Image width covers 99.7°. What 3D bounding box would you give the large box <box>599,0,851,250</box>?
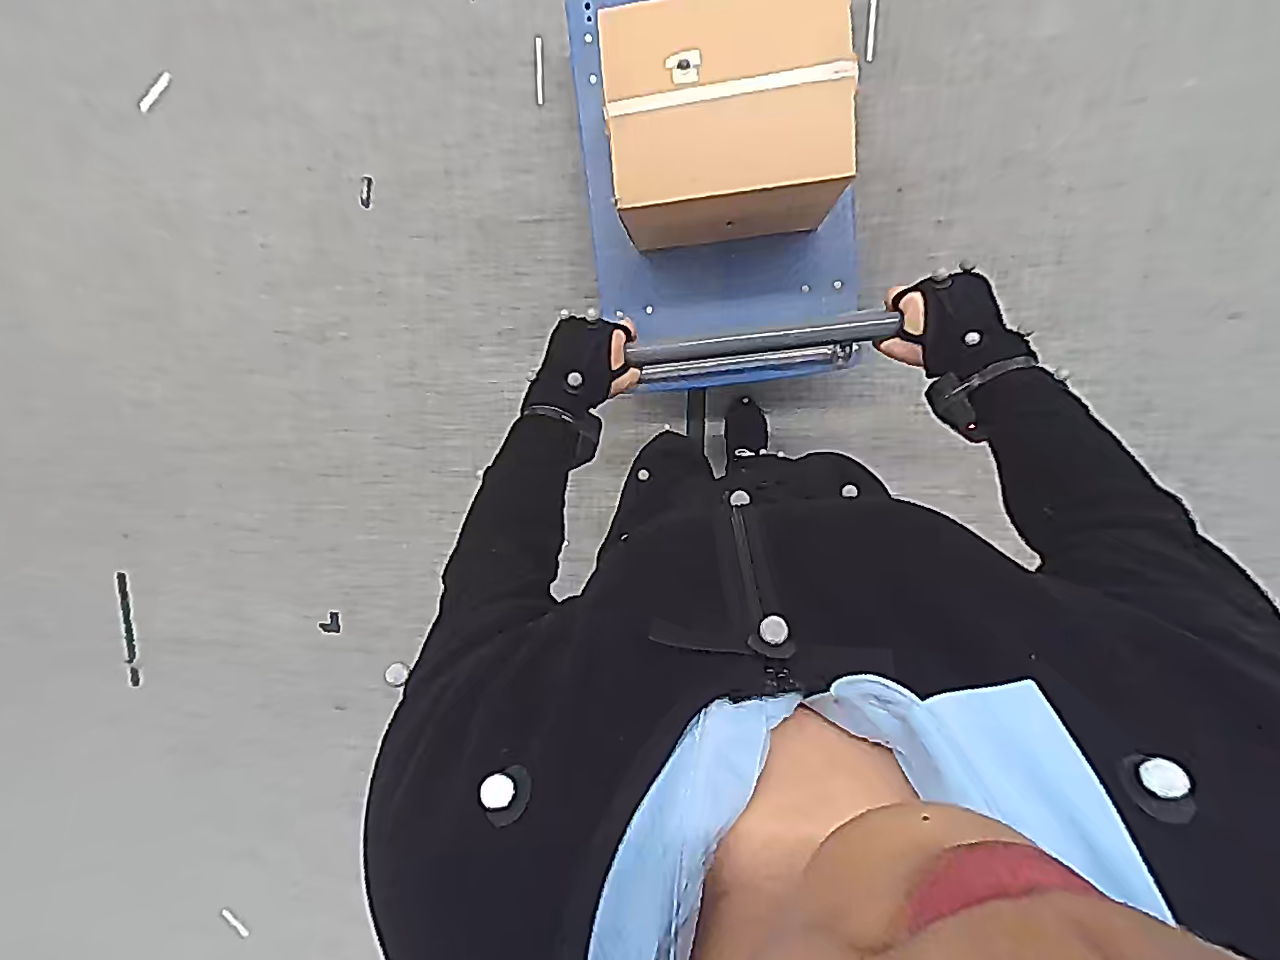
[{"bbox_3d":[0.162,-0.668,1.053,0.408,0.320,0.320,-4,98,8],"label":"large box"}]
